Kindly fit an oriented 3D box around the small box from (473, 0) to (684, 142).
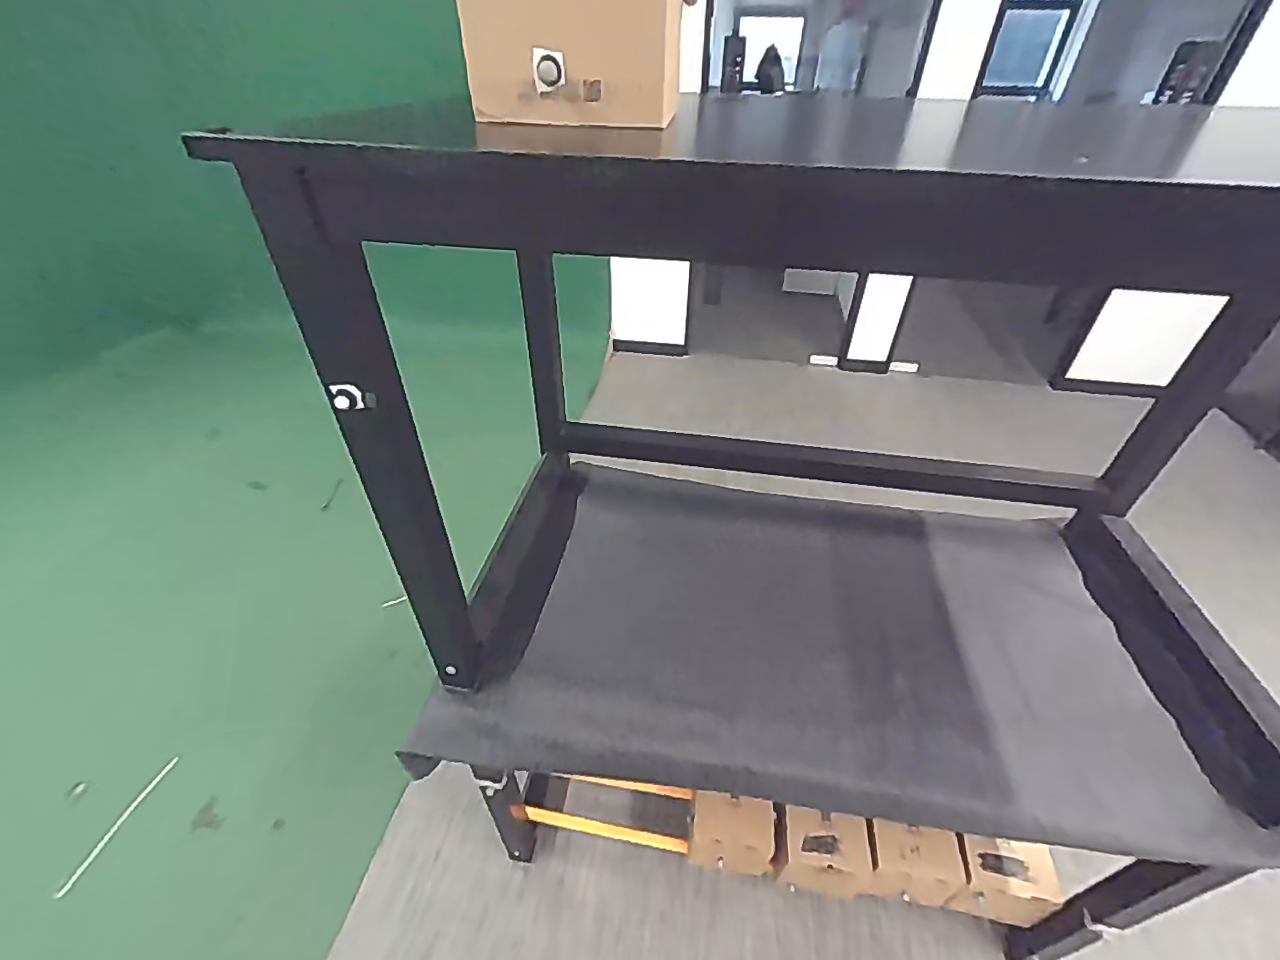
[{"bbox_3d":[-0.047,-0.415,0.484,0.168,0.176,0.179,4,39,5],"label":"small box"}]
